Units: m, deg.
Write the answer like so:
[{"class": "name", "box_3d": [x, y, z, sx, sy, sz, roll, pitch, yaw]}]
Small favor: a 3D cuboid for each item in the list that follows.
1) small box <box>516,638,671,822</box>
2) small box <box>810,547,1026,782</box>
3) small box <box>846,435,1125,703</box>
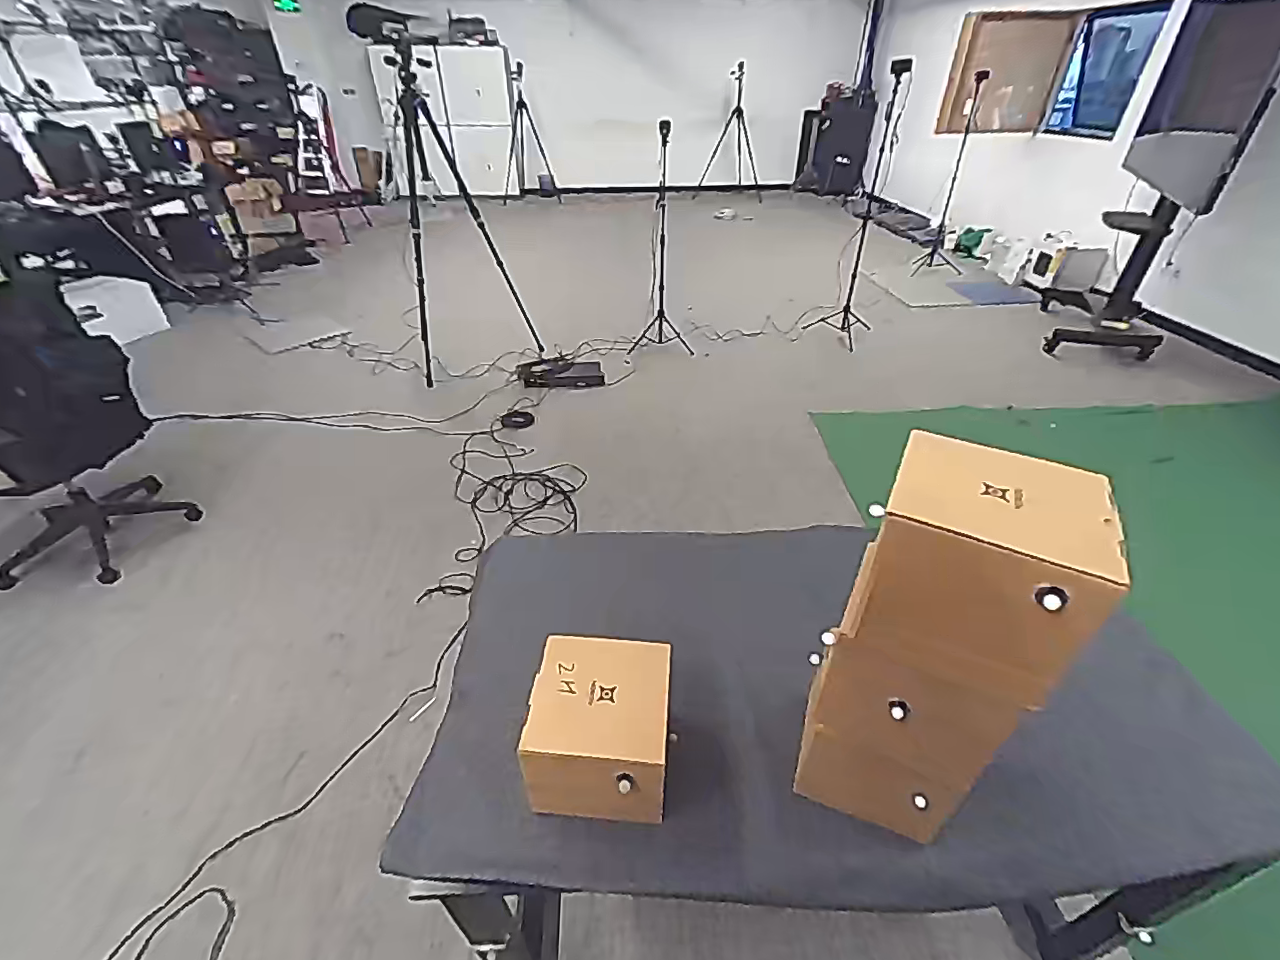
[{"class": "small box", "box_3d": [-0.052, 0.340, 0.735, 0.179, 0.176, 0.168, 3, 37, 4]}, {"class": "small box", "box_3d": [0.317, 0.212, 0.628, 0.179, 0.176, 0.168, 18, 40, 25]}, {"class": "small box", "box_3d": [0.319, 0.082, 0.531, 0.179, 0.176, 0.168, 19, 40, 24]}]
